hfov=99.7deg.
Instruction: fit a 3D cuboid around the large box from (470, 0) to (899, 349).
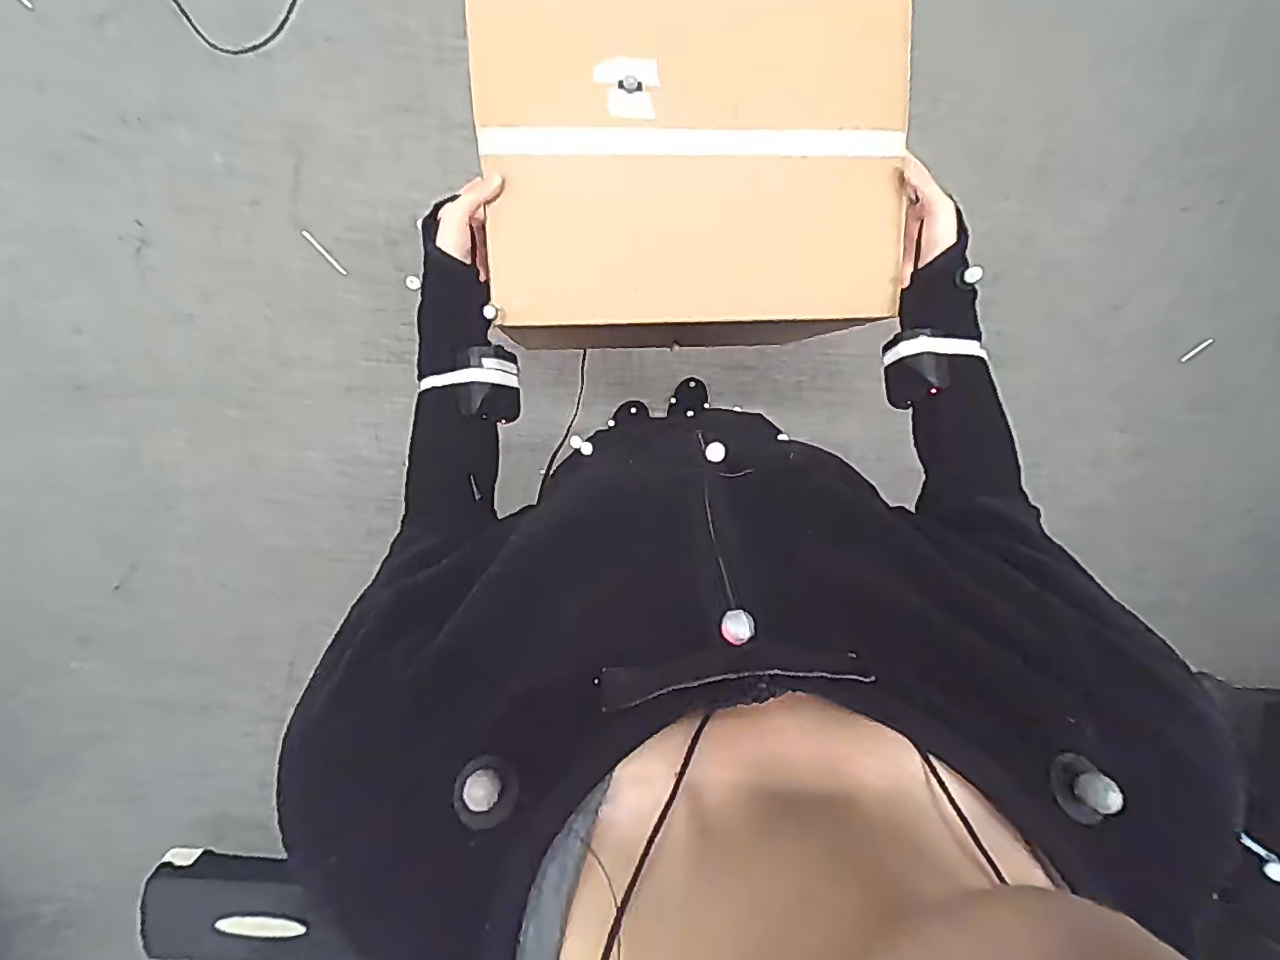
[{"bbox_3d":[0.042,-0.334,0.660,0.408,0.320,0.320,-3,98,-5],"label":"large box"}]
